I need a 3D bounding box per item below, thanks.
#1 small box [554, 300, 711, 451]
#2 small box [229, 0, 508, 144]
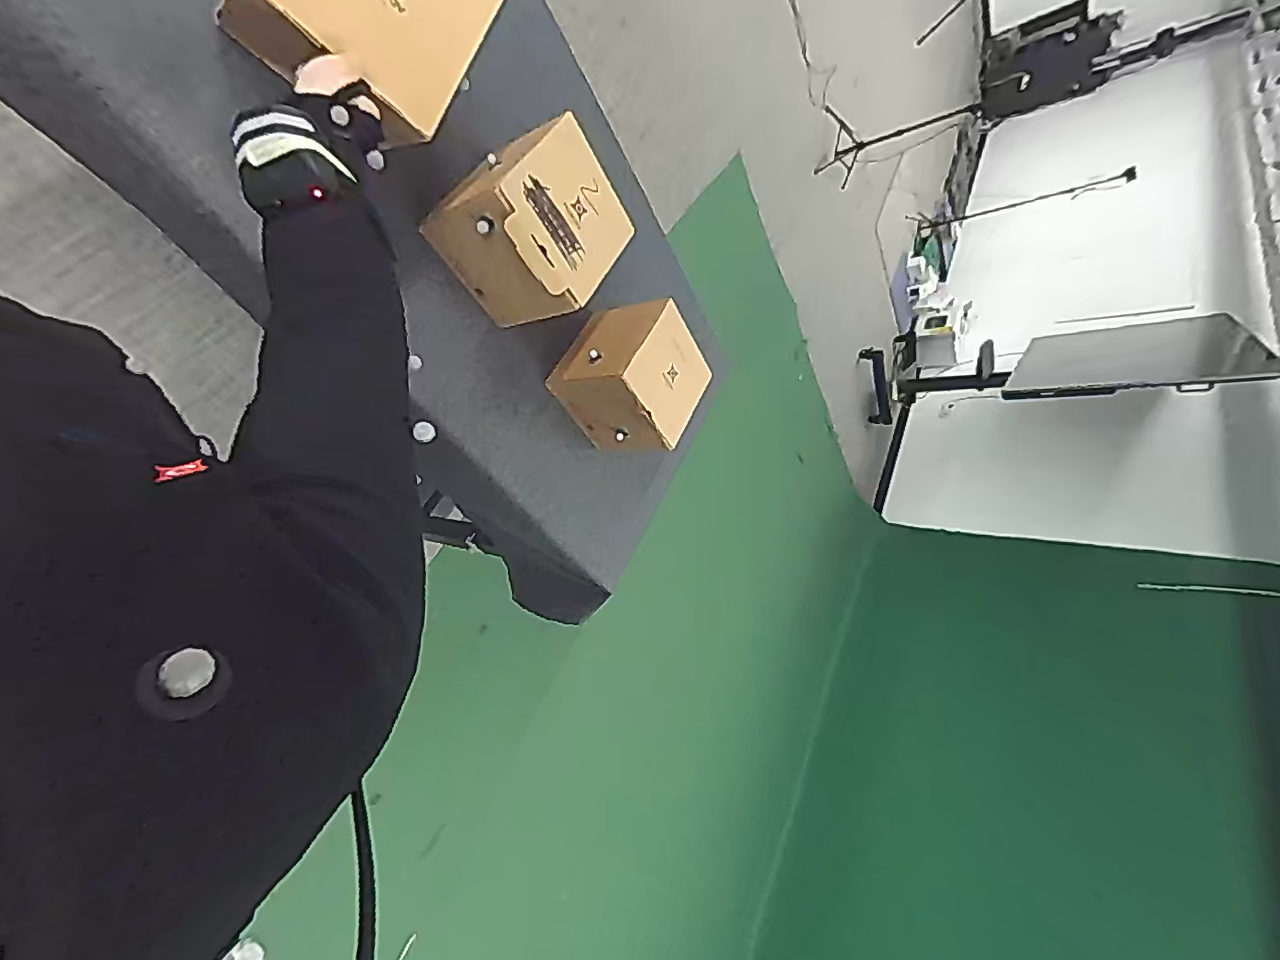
[{"bbox_3d":[-0.014,-0.164,0.888,0.168,0.176,0.179,53,53,-40],"label":"small box"},{"bbox_3d":[-0.261,-0.461,0.520,0.168,0.176,0.179,27,93,-48],"label":"small box"}]
